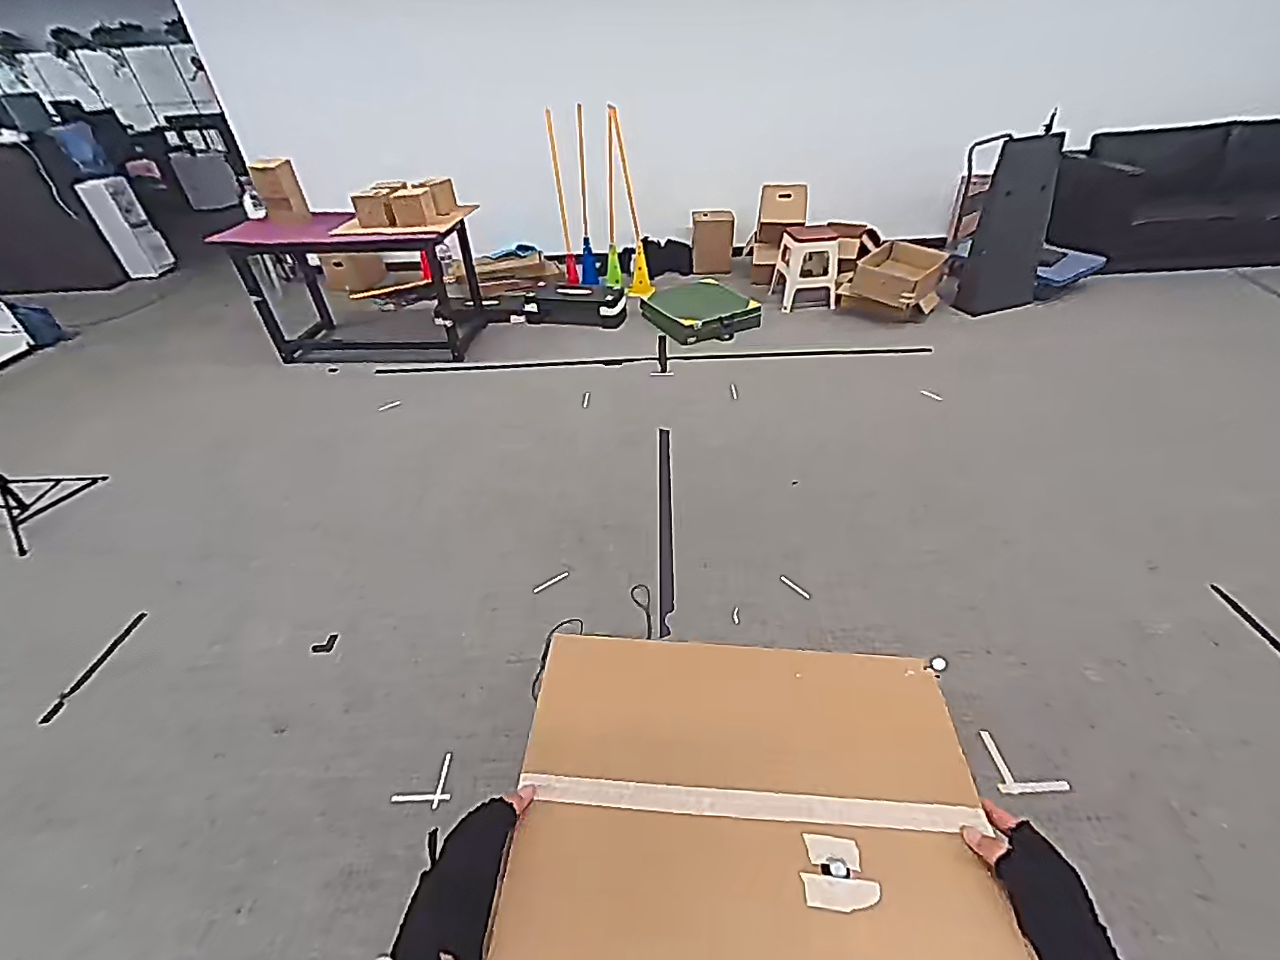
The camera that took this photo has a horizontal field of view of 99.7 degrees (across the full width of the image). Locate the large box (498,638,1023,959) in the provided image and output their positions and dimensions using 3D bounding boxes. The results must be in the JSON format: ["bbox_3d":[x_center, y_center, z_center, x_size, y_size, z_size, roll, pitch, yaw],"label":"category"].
[{"bbox_3d":[0.096,0.399,0.586,0.408,0.320,0.320,3,42,4],"label":"large box"}]
